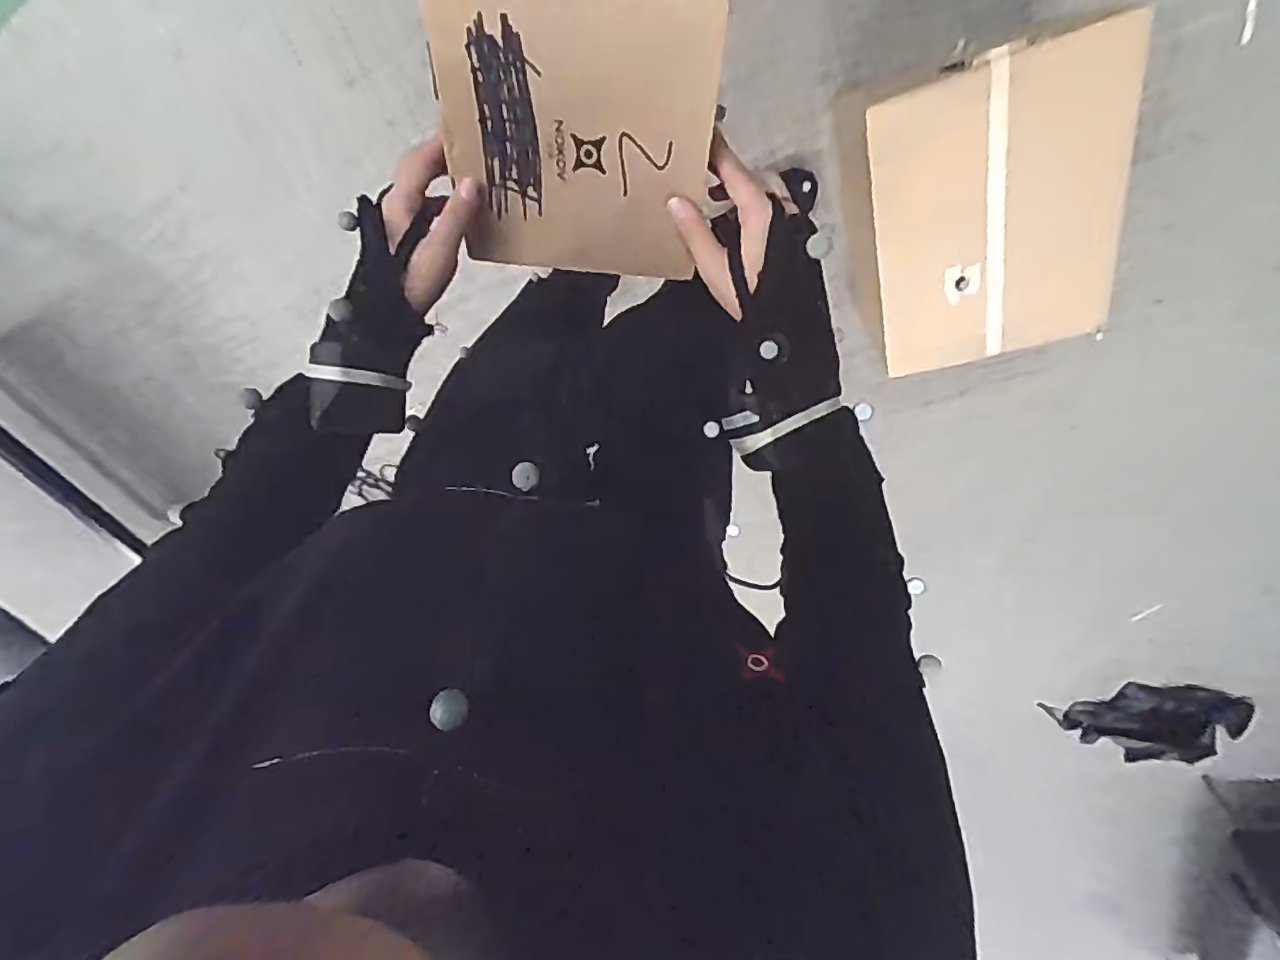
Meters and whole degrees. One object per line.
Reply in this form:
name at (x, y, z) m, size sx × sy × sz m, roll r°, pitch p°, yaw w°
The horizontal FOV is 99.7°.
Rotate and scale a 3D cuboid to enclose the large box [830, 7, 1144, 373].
large box at (0.517, -0.453, 0.883) m, size 0.320 × 0.320 × 0.408 m, roll -11°, pitch 126°, yaw 18°
